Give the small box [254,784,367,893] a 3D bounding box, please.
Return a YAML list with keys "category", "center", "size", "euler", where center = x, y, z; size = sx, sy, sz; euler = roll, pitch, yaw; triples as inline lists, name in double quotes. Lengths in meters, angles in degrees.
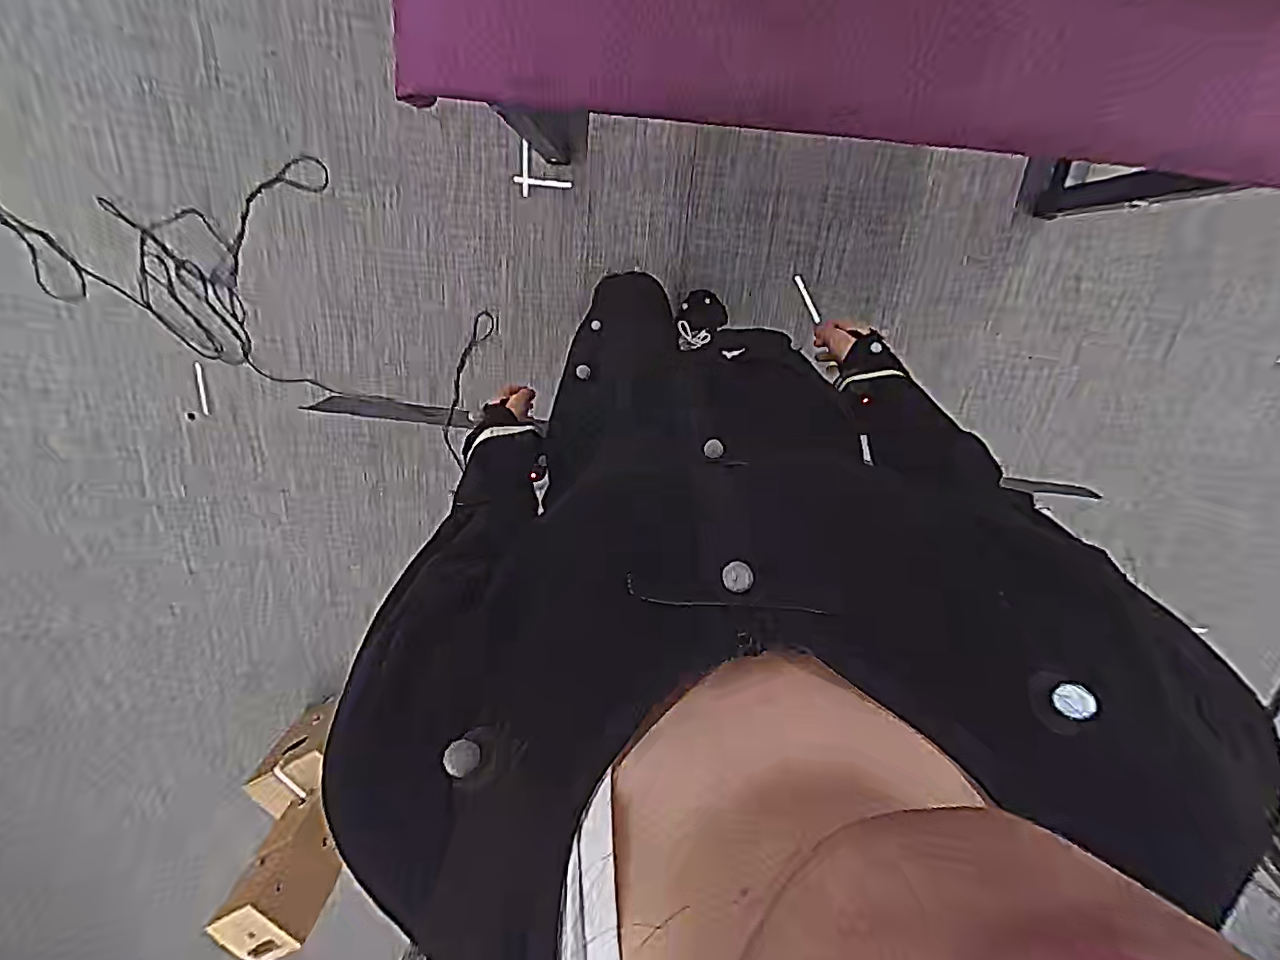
- category: "small box"
  center: [-0.922, 1.011, 1.533]
  size: [0.168, 0.176, 0.179]
  euler: [-33, 105, 12]
